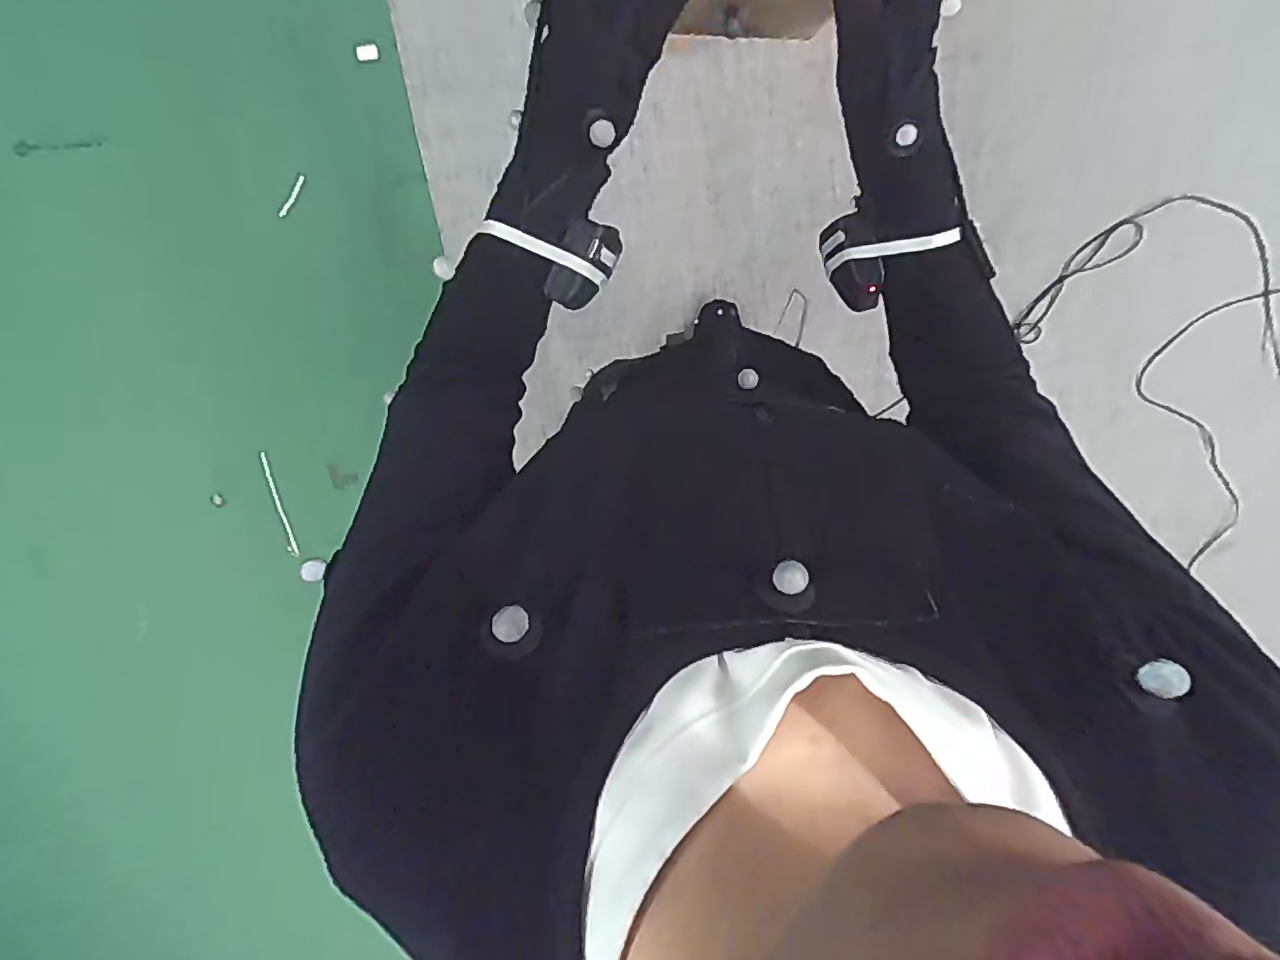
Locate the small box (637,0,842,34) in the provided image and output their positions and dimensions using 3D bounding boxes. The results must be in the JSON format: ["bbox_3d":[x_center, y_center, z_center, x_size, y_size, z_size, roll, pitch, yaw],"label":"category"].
[{"bbox_3d":[0.081,-0.442,0.363,0.168,0.176,0.179,0,114,-4],"label":"small box"}]
